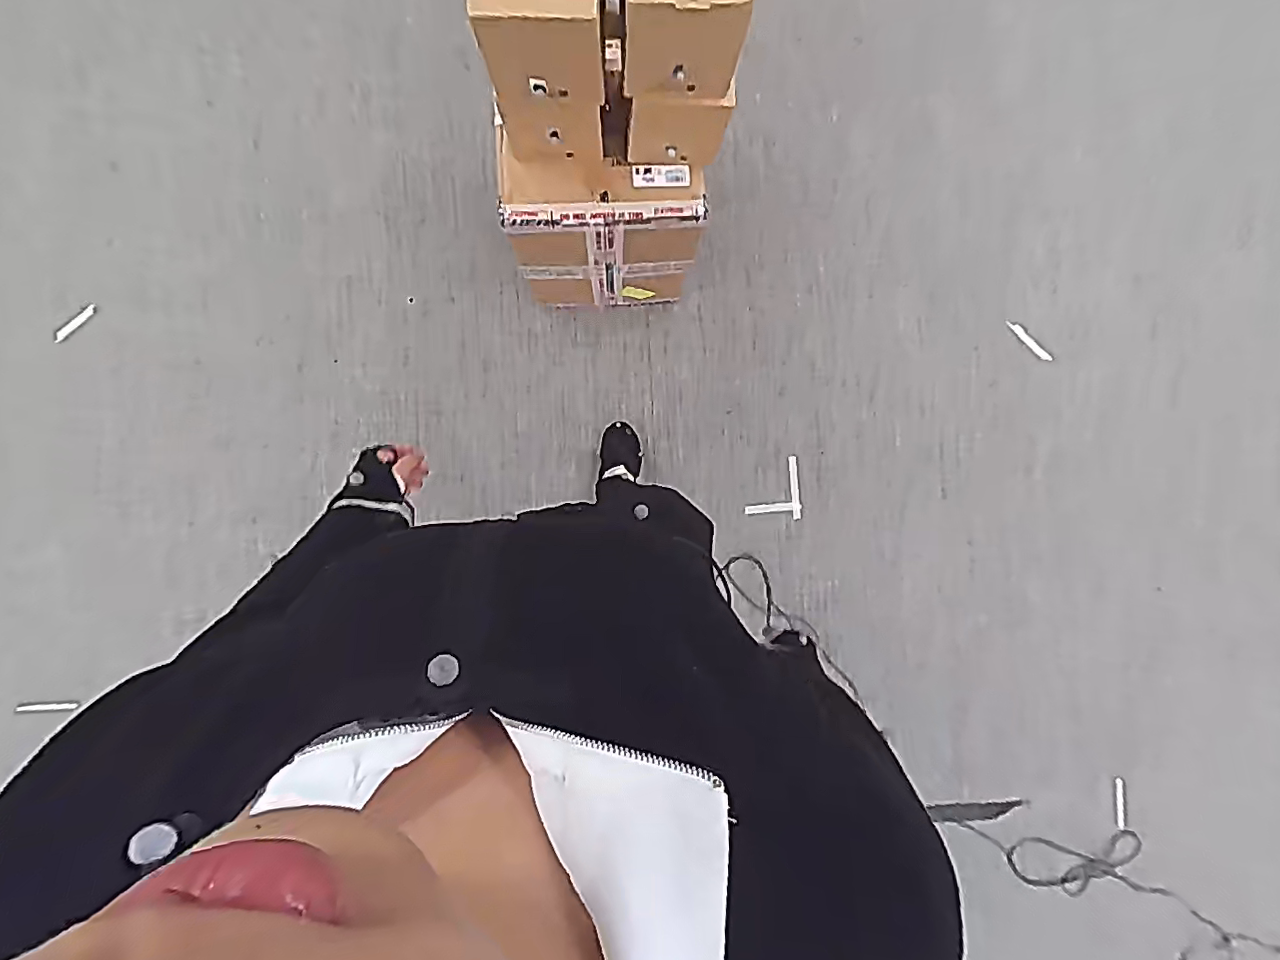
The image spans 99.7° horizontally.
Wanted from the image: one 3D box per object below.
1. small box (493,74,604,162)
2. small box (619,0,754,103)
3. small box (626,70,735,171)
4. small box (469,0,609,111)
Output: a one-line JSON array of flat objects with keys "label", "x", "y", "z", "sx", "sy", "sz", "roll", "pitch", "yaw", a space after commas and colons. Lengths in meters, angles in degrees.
[{"label": "small box", "x": -0.146, "y": -0.670, "z": 0.920, "sx": 0.168, "sy": 0.176, "sz": 0.179, "roll": 0, "pitch": 92, "yaw": -1}, {"label": "small box", "x": 0.056, "y": -0.680, "z": 0.764, "sx": 0.168, "sy": 0.176, "sz": 0.179, "roll": -3, "pitch": 91, "yaw": -4}, {"label": "small box", "x": 0.063, "y": -0.669, "z": 0.930, "sx": 0.168, "sy": 0.176, "sz": 0.179, "roll": 0, "pitch": 91, "yaw": -4}, {"label": "small box", "x": -0.132, "y": -0.661, "z": 0.756, "sx": 0.168, "sy": 0.176, "sz": 0.179, "roll": 0, "pitch": 92, "yaw": 1}]
